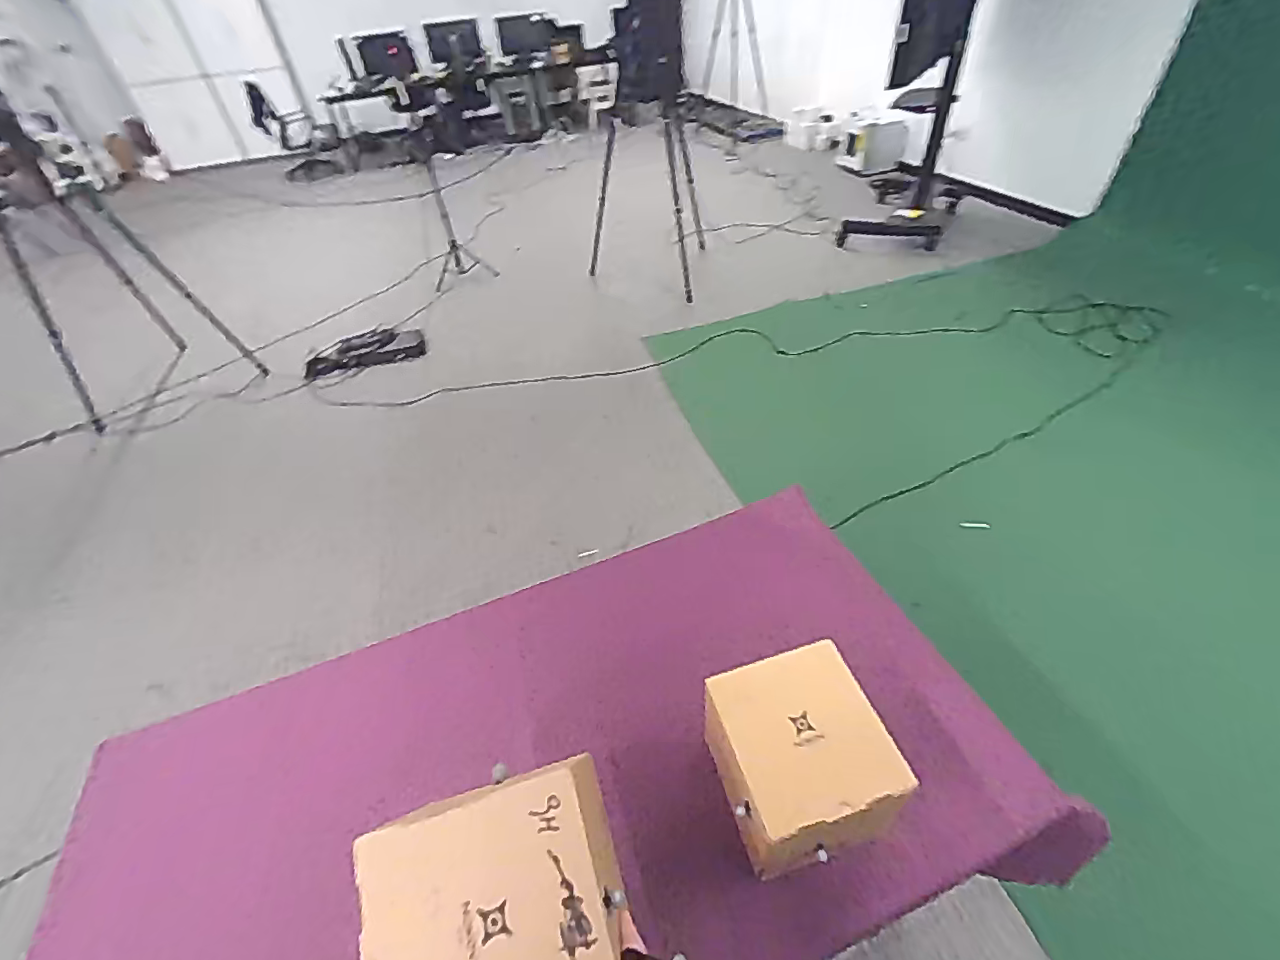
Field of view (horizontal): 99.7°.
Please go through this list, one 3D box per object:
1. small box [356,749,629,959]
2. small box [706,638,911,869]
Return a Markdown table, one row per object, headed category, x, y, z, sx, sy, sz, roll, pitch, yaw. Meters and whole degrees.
| category | x | y | z | sx | sy | sz | roll | pitch | yaw |
| --- | --- | --- | --- | --- | --- | --- | --- | --- | --- |
| small box | -0.114 | 0.350 | 0.470 | 0.179 | 0.176 | 0.168 | -16 | 69 | -5 |
| small box | 0.182 | 0.328 | 0.652 | 0.168 | 0.176 | 0.179 | -14 | 44 | -9 |
